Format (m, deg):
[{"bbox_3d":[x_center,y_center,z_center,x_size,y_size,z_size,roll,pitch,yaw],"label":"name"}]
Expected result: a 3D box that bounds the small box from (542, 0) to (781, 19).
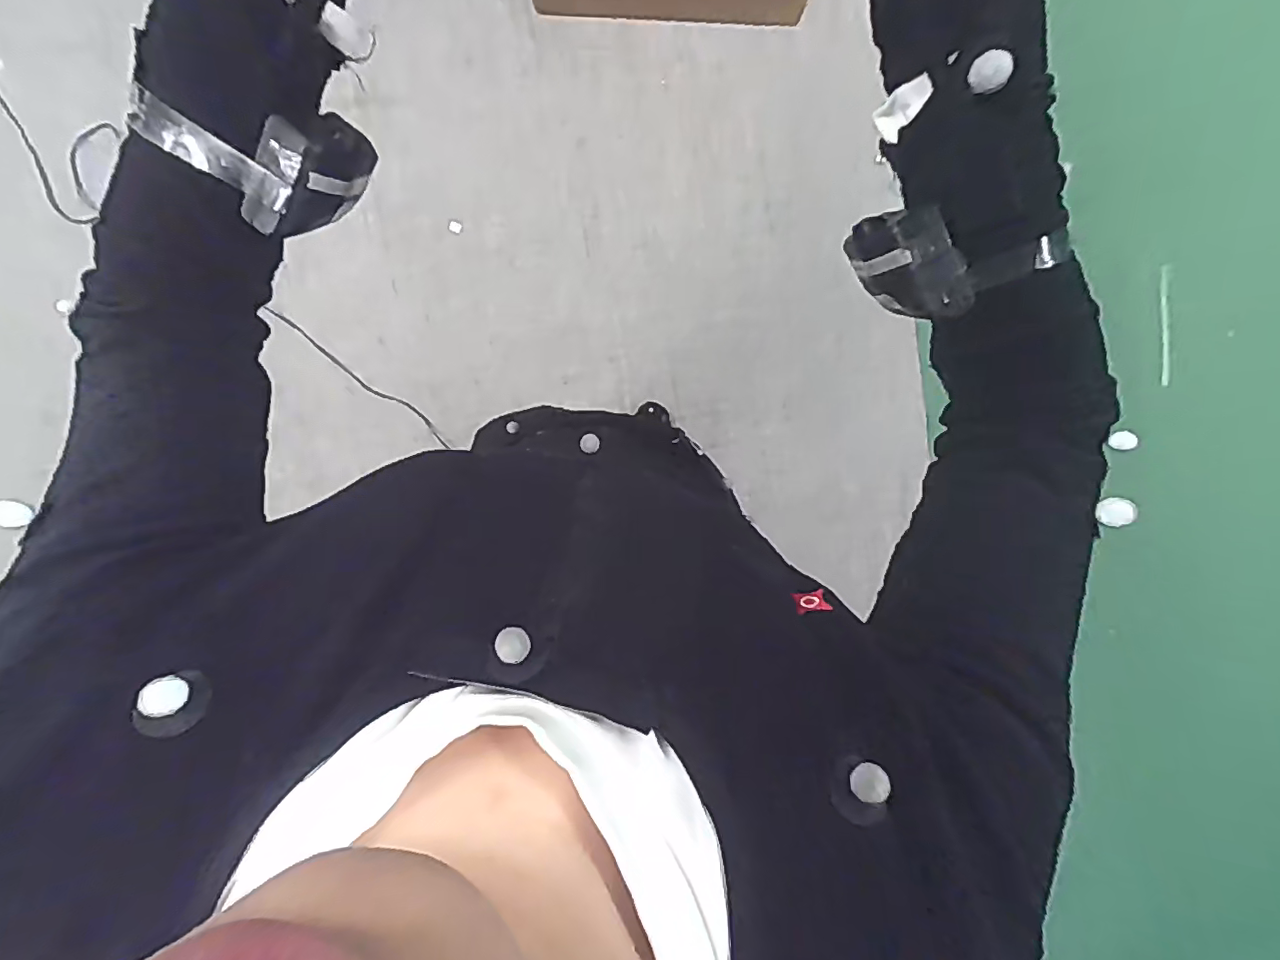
[{"bbox_3d":[0.022,-0.369,0.261,0.179,0.176,0.168,2,98,0],"label":"small box"}]
